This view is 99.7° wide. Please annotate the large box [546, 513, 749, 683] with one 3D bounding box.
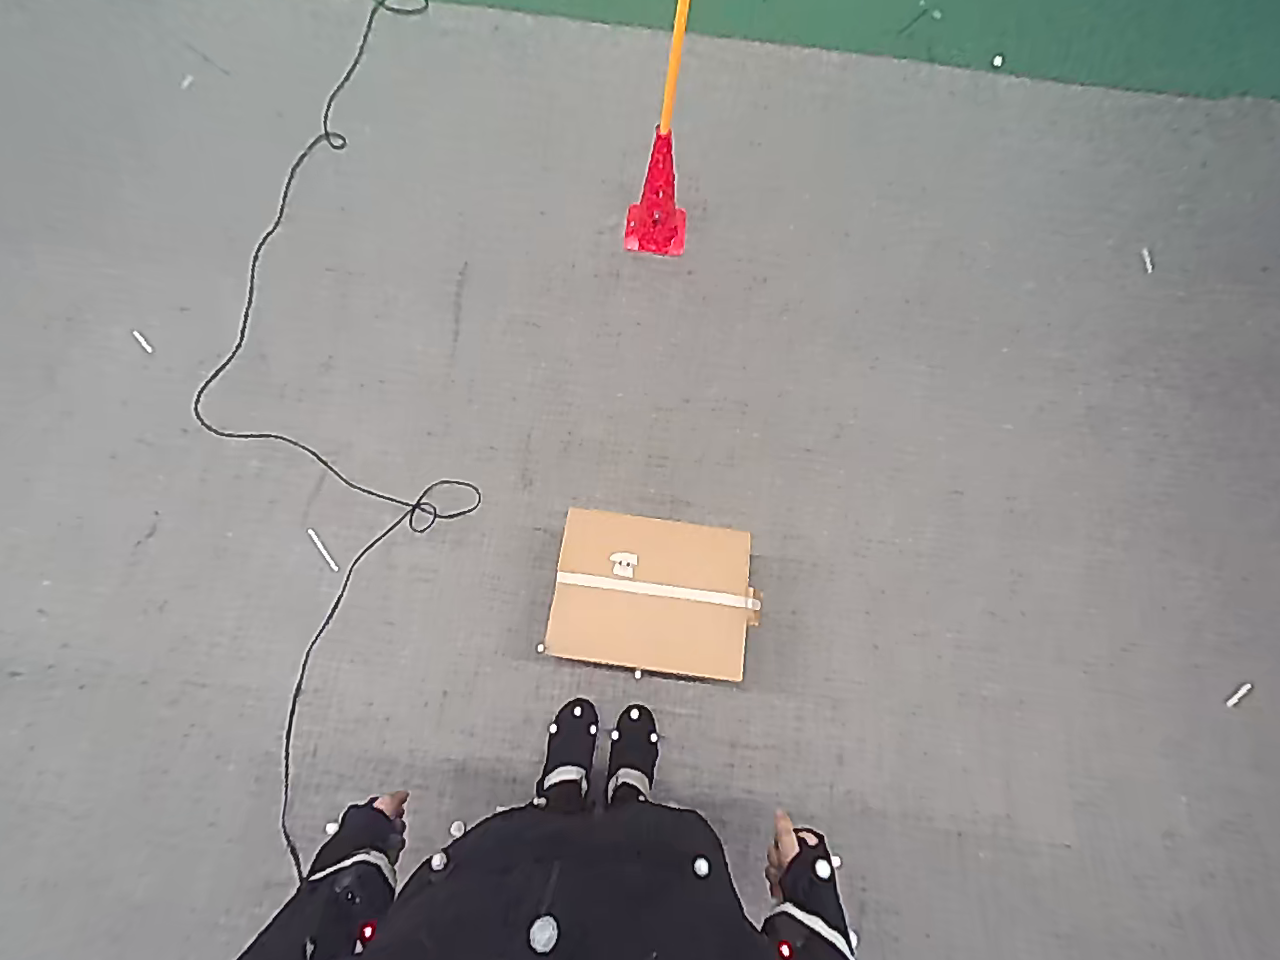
[{"bbox_3d":[0.022,0.288,1.276,0.408,0.320,0.320,8,70,1],"label":"large box"}]
